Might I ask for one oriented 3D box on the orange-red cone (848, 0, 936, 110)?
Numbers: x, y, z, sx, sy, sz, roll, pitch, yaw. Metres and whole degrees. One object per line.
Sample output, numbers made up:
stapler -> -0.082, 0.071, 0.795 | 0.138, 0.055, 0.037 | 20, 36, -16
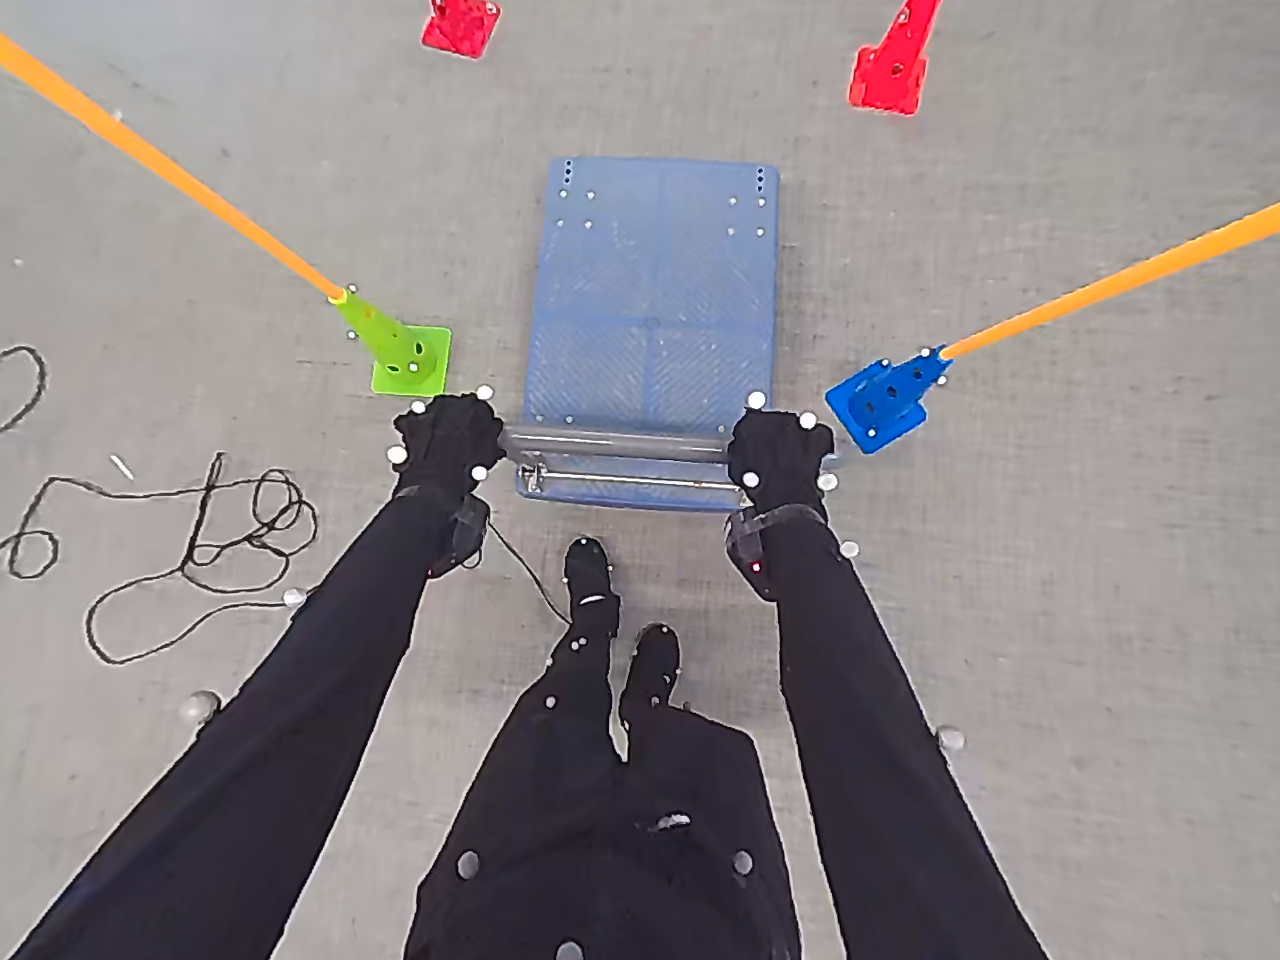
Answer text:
orange-red cone -> 0.703, -1.186, 1.383 | 0.198, 0.360, 0.199 | 16, 83, 6
